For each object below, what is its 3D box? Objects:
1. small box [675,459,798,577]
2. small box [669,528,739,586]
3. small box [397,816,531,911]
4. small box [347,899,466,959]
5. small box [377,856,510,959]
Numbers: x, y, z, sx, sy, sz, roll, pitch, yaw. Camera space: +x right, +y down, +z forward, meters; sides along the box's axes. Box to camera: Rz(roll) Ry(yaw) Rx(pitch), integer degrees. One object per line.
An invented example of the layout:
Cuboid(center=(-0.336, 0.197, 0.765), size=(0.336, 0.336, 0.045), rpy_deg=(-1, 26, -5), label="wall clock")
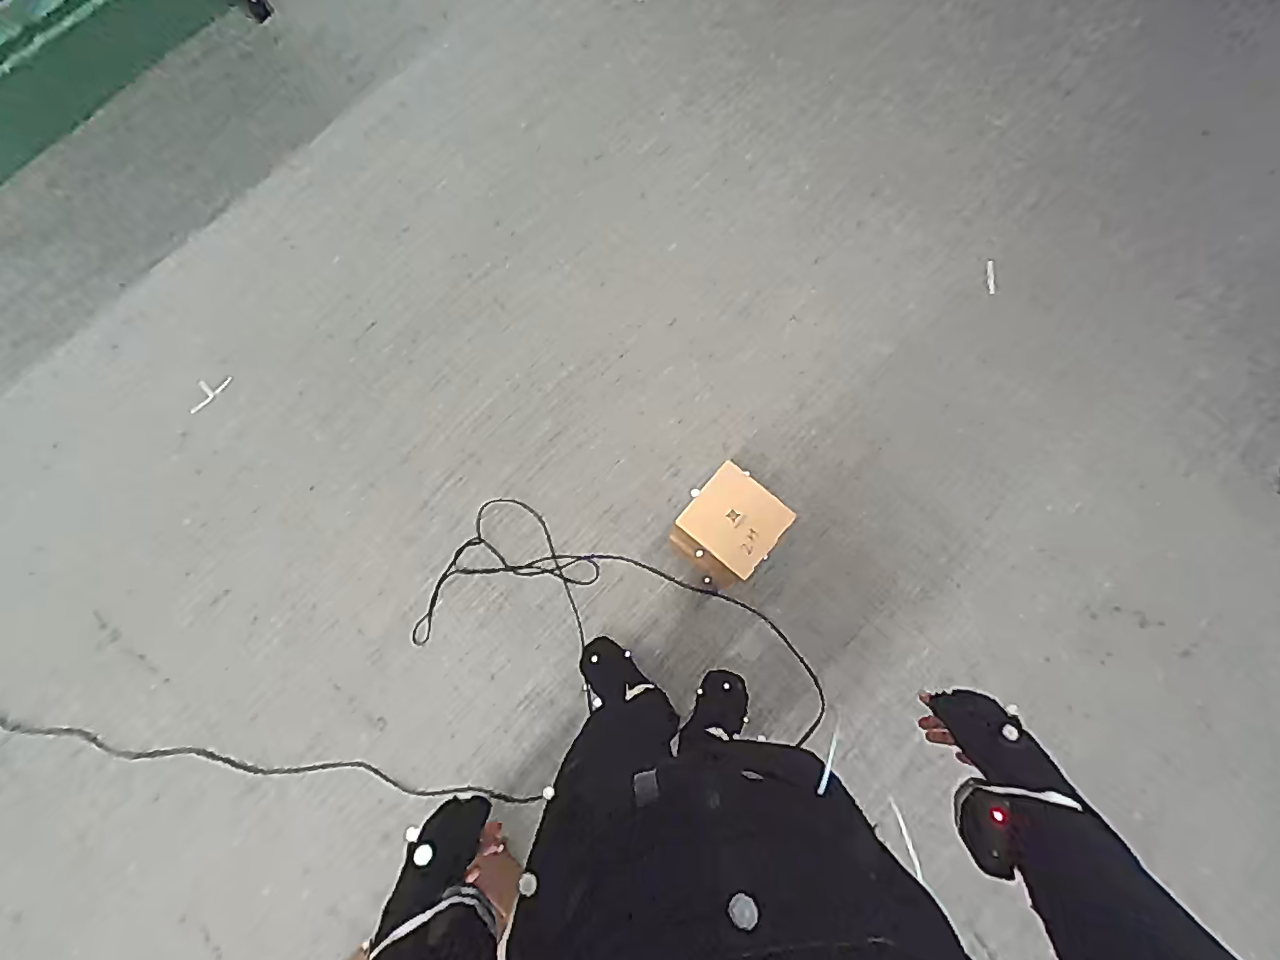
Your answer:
Cuboid(center=(0.187, 0.087, 1.112), size=(0.179, 0.176, 0.168), rpy_deg=(40, 82, 8), label="small box")
Cuboid(center=(0.185, 0.130, 1.271), size=(0.179, 0.176, 0.168), rpy_deg=(40, 82, 8), label="small box")
Cuboid(center=(-0.361, 0.852, 1.141), size=(0.179, 0.176, 0.168), rpy_deg=(42, 86, 10), label="small box")
Cuboid(center=(-0.376, 0.800, 0.816), size=(0.168, 0.176, 0.179), rpy_deg=(-39, 80, -6), label="small box")
Cuboid(center=(-0.365, 0.827, 0.976), size=(0.168, 0.176, 0.179), rpy_deg=(-44, 82, -7), label="small box")
